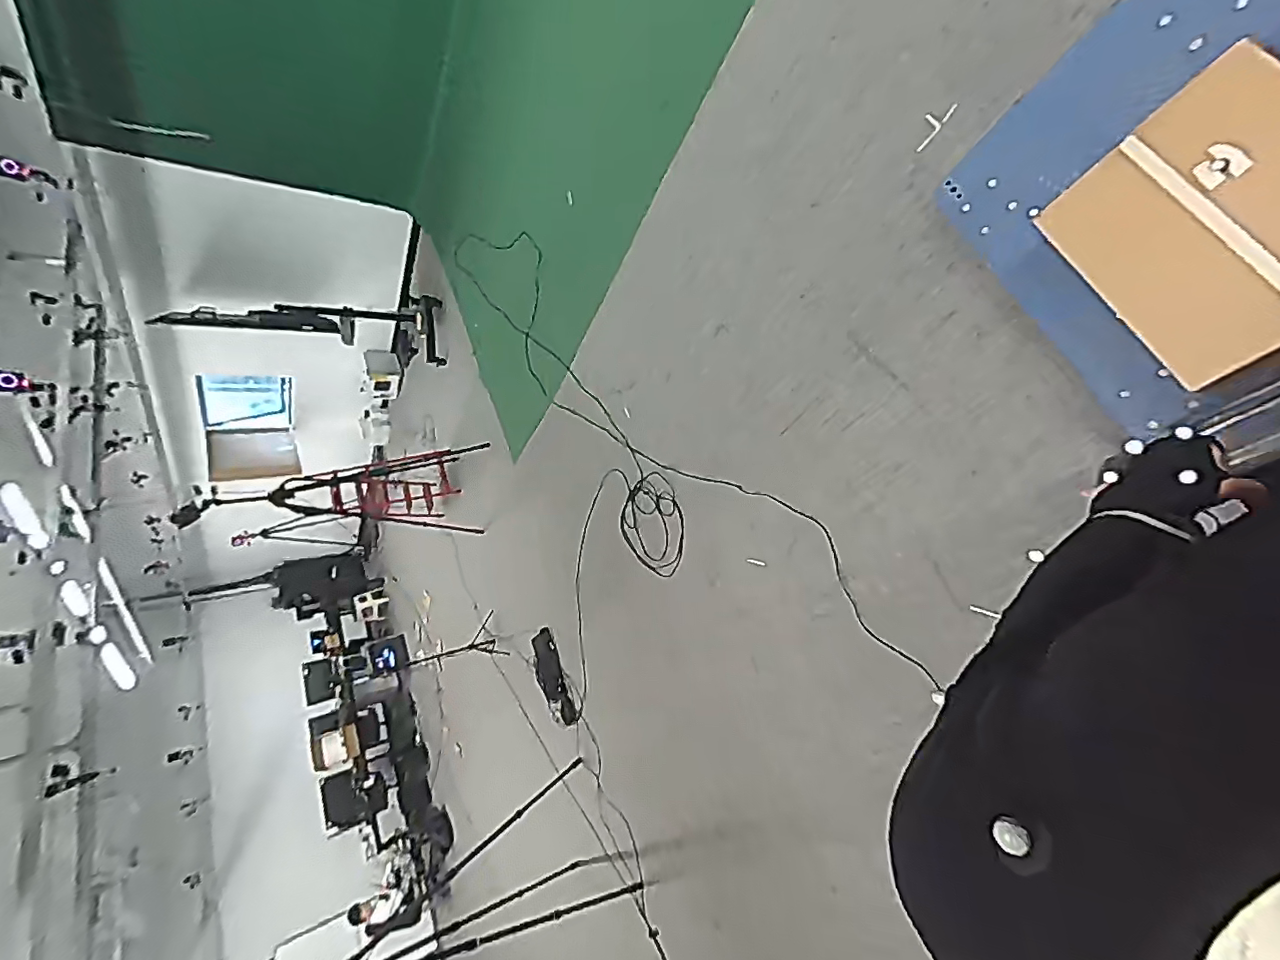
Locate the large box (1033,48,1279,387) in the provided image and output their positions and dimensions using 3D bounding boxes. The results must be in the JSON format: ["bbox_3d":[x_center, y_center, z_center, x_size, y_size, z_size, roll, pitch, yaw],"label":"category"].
[{"bbox_3d":[0.999,-0.408,0.917,0.320,0.320,0.408,-46,58,45],"label":"large box"}]
